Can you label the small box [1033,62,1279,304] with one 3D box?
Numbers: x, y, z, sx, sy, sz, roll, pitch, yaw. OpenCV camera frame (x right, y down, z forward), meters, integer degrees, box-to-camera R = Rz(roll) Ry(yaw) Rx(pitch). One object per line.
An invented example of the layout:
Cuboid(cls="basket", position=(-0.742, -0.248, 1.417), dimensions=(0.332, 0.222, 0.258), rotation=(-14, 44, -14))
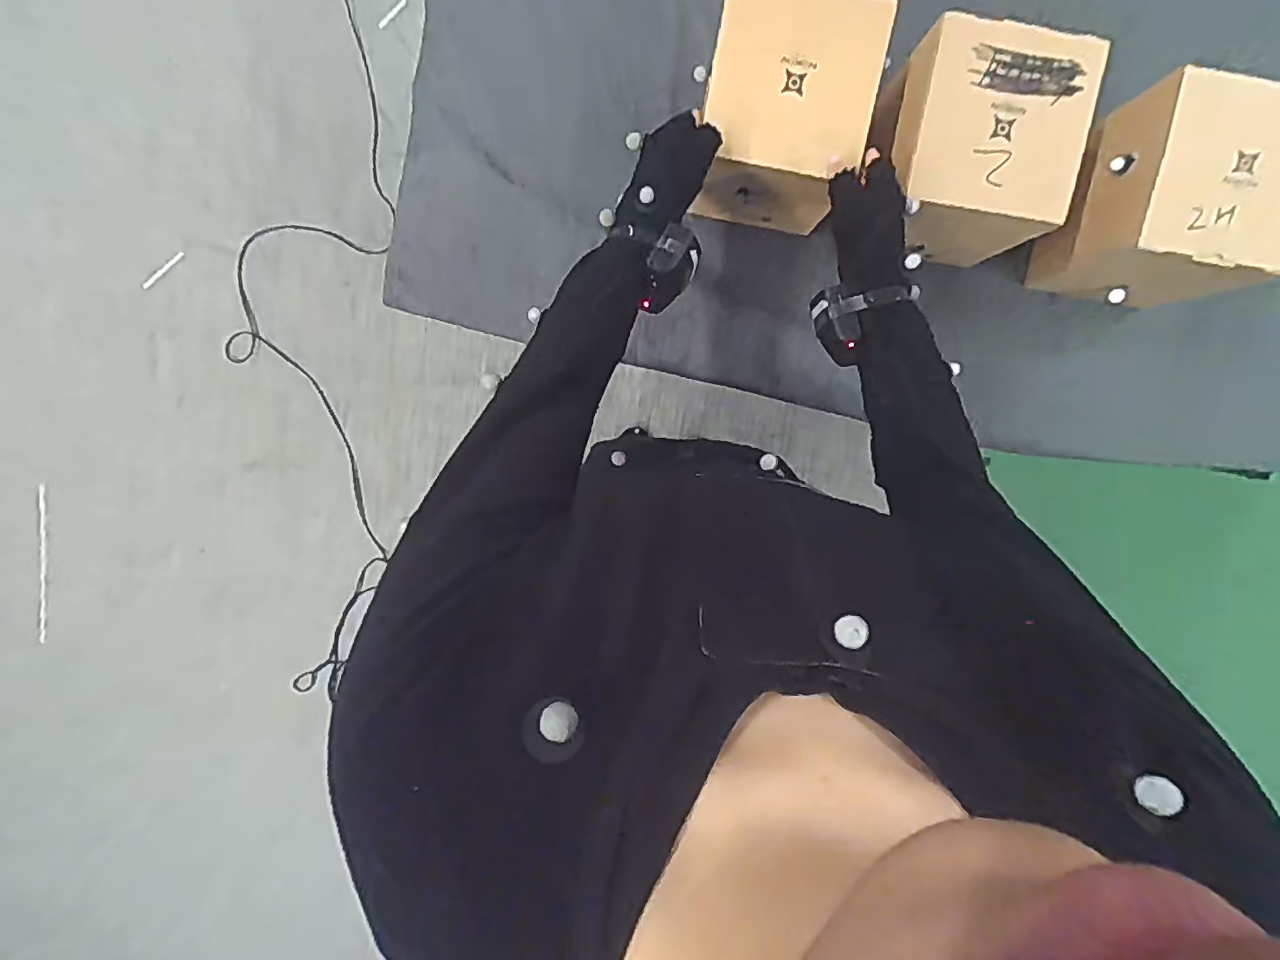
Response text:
Cuboid(cls="small box", position=(0.595, -0.317, 0.614), dimensions=(0.168, 0.176, 0.179), rotation=(10, 97, 1))
